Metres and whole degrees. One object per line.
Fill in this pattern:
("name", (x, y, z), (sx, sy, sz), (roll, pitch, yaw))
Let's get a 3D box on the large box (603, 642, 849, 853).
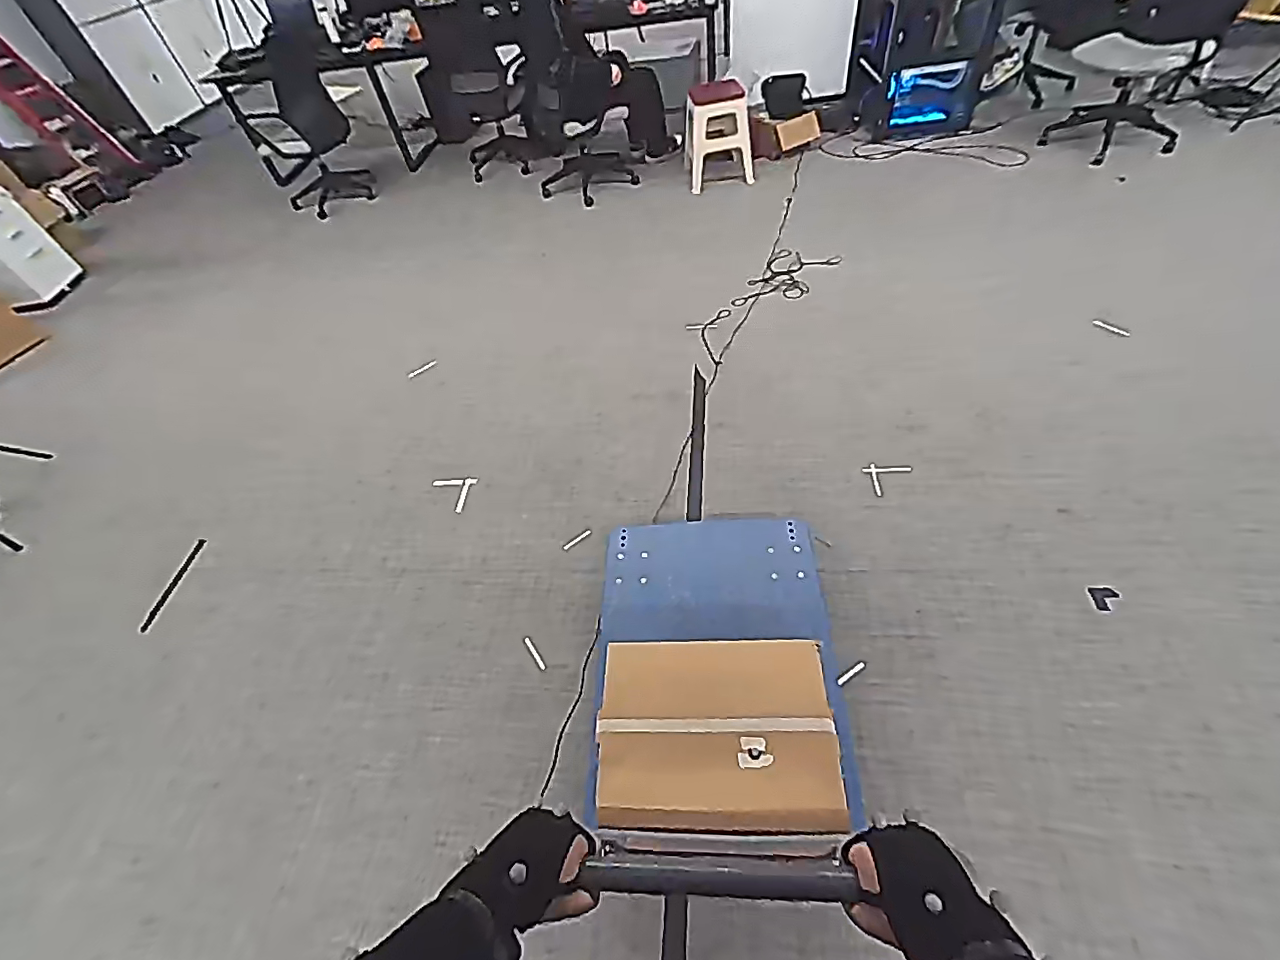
("large box", (0.152, 0.538, 1.075), (0.408, 0.320, 0.320), (-3, 50, 6))
